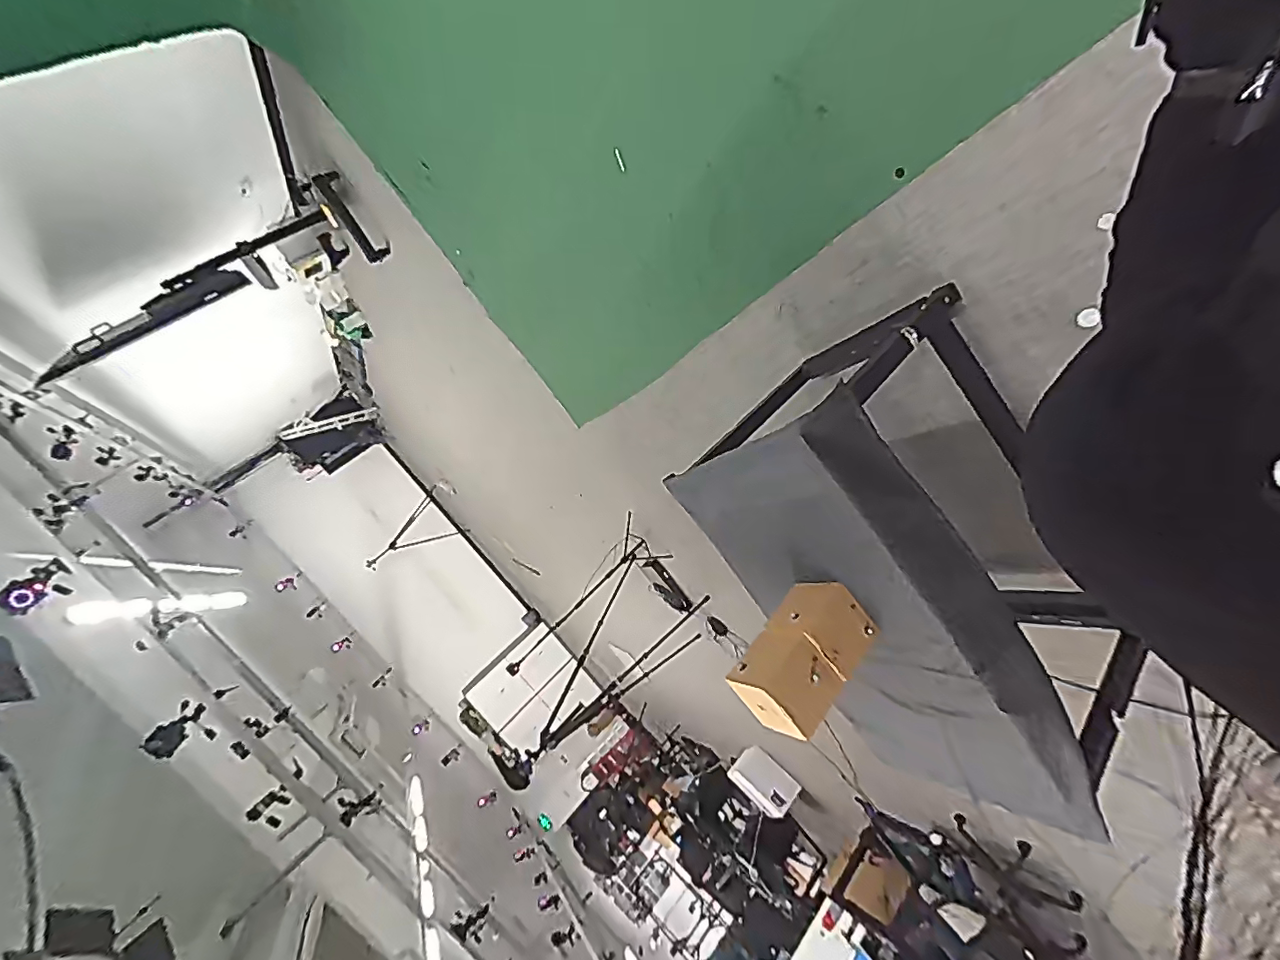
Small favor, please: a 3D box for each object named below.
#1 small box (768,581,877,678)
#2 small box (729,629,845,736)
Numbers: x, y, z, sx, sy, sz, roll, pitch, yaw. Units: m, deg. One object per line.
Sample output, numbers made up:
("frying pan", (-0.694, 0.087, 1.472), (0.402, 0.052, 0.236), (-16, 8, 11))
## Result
("small box", (0.469, 0.371, 1.373), (0.168, 0.176, 0.179), (51, 156, -7))
("small box", (0.360, 0.483, 1.321), (0.168, 0.176, 0.179), (50, 155, -5))
